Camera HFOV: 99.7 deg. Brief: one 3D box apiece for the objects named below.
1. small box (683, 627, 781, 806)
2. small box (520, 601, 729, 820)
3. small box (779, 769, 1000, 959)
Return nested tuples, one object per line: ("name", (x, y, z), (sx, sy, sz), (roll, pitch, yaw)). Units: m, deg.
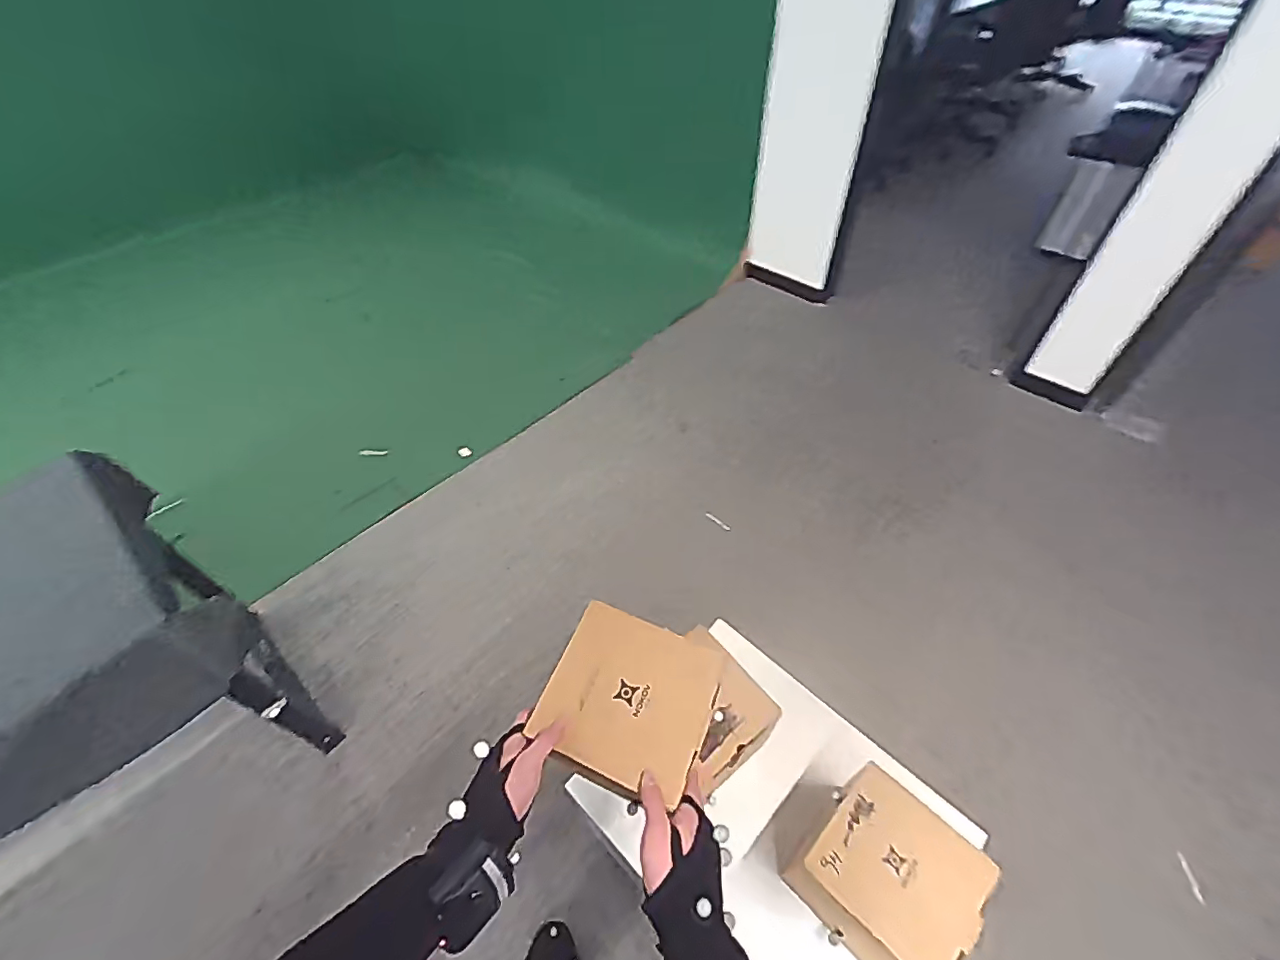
("small box", (0.084, 0.368, 0.830), (0.168, 0.176, 0.179), (-30, 55, -24))
("small box", (-0.013, 0.274, 0.634), (0.179, 0.176, 0.168), (19, 55, 13))
("small box", (0.308, 0.520, 0.700), (0.168, 0.176, 0.179), (-36, 58, -27))
